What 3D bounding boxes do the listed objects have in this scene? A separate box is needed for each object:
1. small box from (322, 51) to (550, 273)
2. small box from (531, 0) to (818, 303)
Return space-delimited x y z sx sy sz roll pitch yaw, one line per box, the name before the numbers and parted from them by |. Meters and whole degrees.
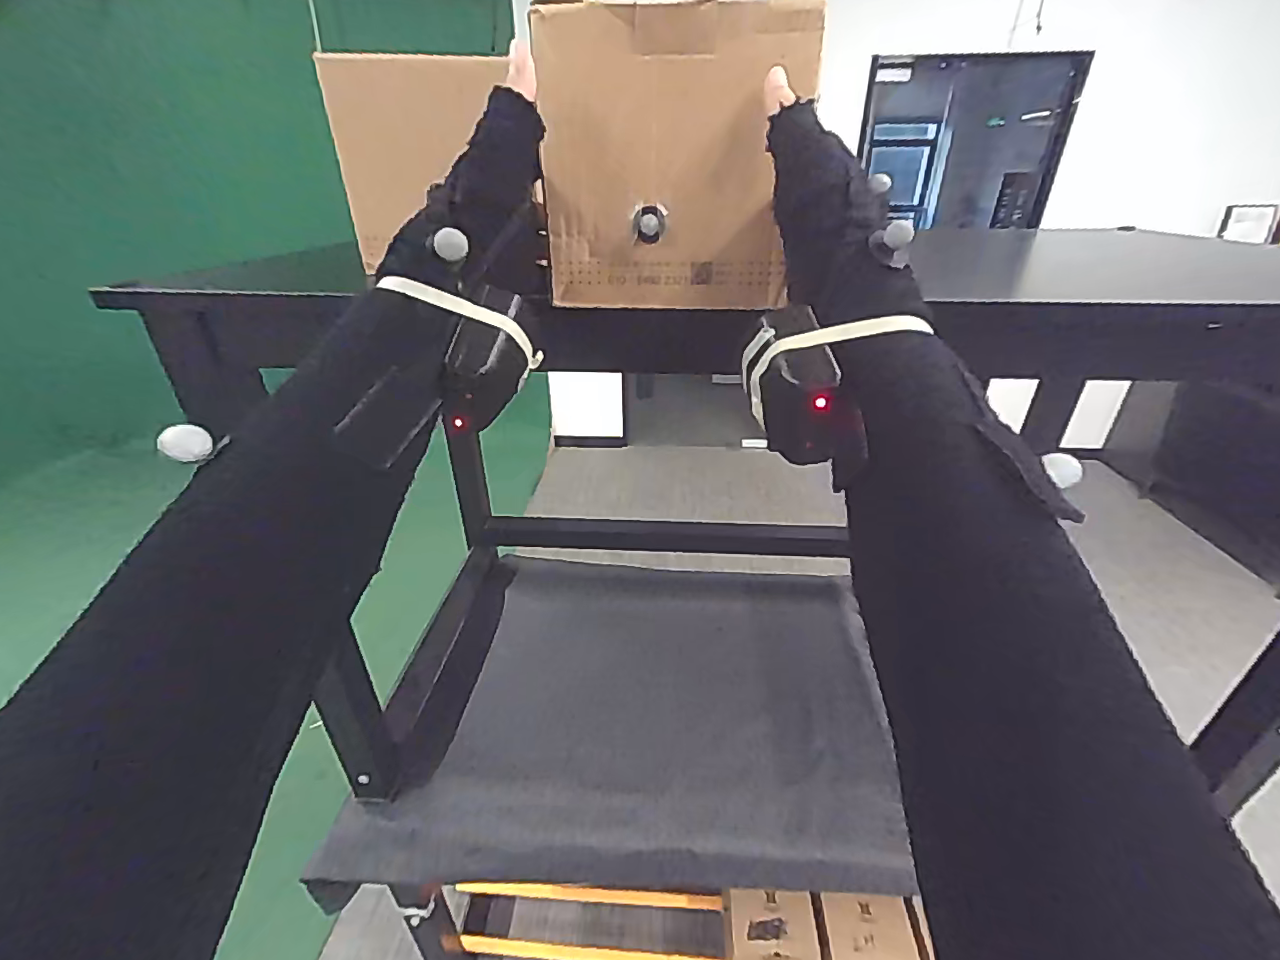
small box | -0.184 -0.312 0.548 0.168 0.176 0.179 -5 30 -6
small box | 0.023 -0.238 0.411 0.168 0.176 0.179 1 29 3
